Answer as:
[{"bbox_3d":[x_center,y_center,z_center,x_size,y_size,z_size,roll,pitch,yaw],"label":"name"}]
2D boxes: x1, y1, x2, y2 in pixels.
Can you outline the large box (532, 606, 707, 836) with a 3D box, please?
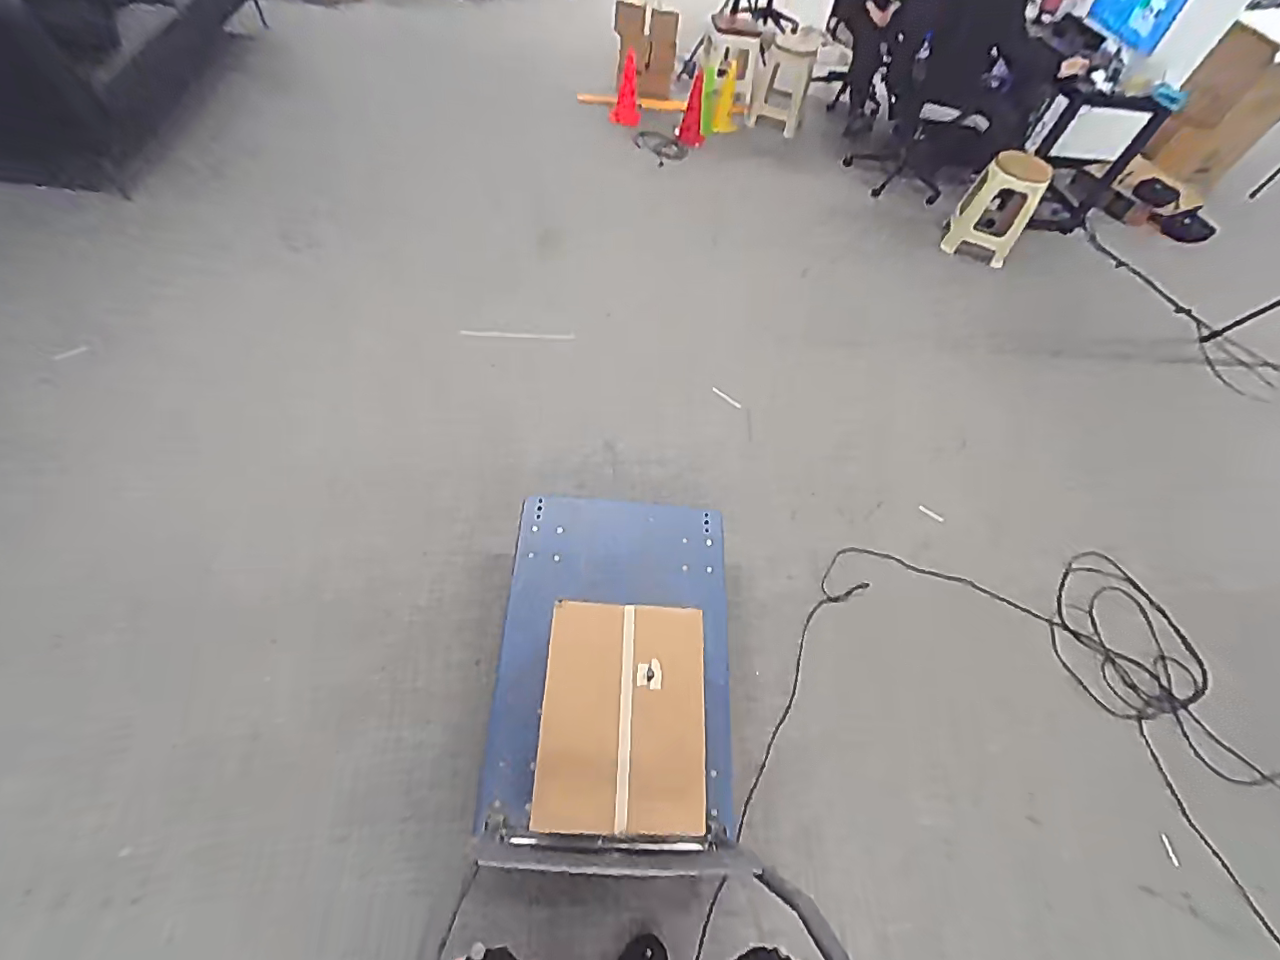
[{"bbox_3d":[-0.045,0.516,1.163,0.320,0.320,0.408,5,61,-5],"label":"large box"}]
